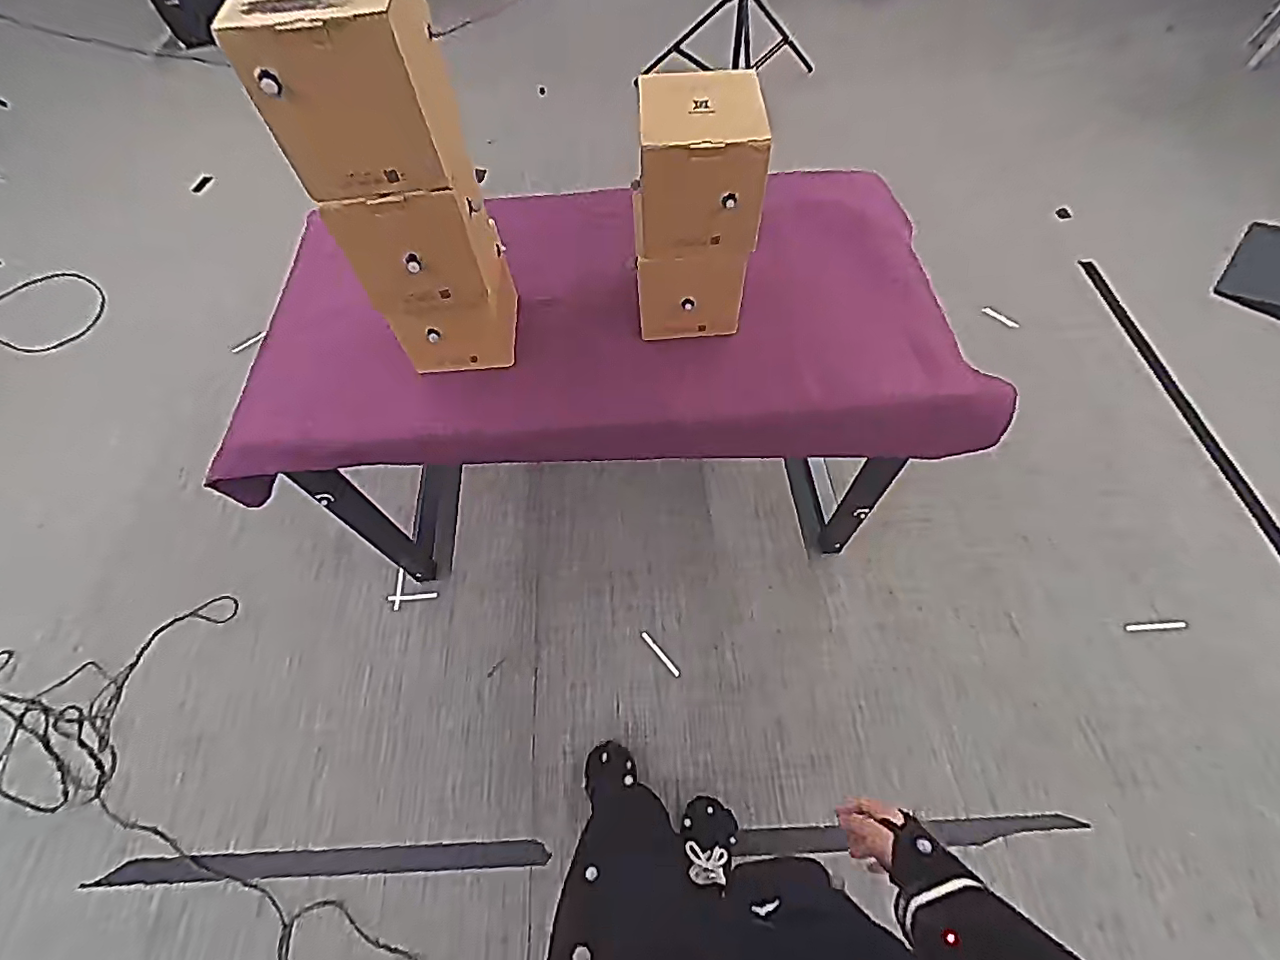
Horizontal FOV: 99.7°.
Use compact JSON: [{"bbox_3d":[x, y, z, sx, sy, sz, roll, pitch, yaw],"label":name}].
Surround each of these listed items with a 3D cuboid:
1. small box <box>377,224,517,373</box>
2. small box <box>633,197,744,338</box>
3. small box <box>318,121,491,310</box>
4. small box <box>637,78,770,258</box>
[{"bbox_3d":[-0.309,-0.294,0.905,0.168,0.176,0.179,-5,60,0],"label":"small box"},{"bbox_3d":[0.077,-0.356,0.919,0.168,0.176,0.179,-4,61,0],"label":"small box"},{"bbox_3d":[-0.310,-0.356,0.751,0.168,0.176,0.179,-8,61,-2],"label":"small box"},{"bbox_3d":[0.082,-0.440,0.780,0.168,0.176,0.179,-2,60,0],"label":"small box"}]
